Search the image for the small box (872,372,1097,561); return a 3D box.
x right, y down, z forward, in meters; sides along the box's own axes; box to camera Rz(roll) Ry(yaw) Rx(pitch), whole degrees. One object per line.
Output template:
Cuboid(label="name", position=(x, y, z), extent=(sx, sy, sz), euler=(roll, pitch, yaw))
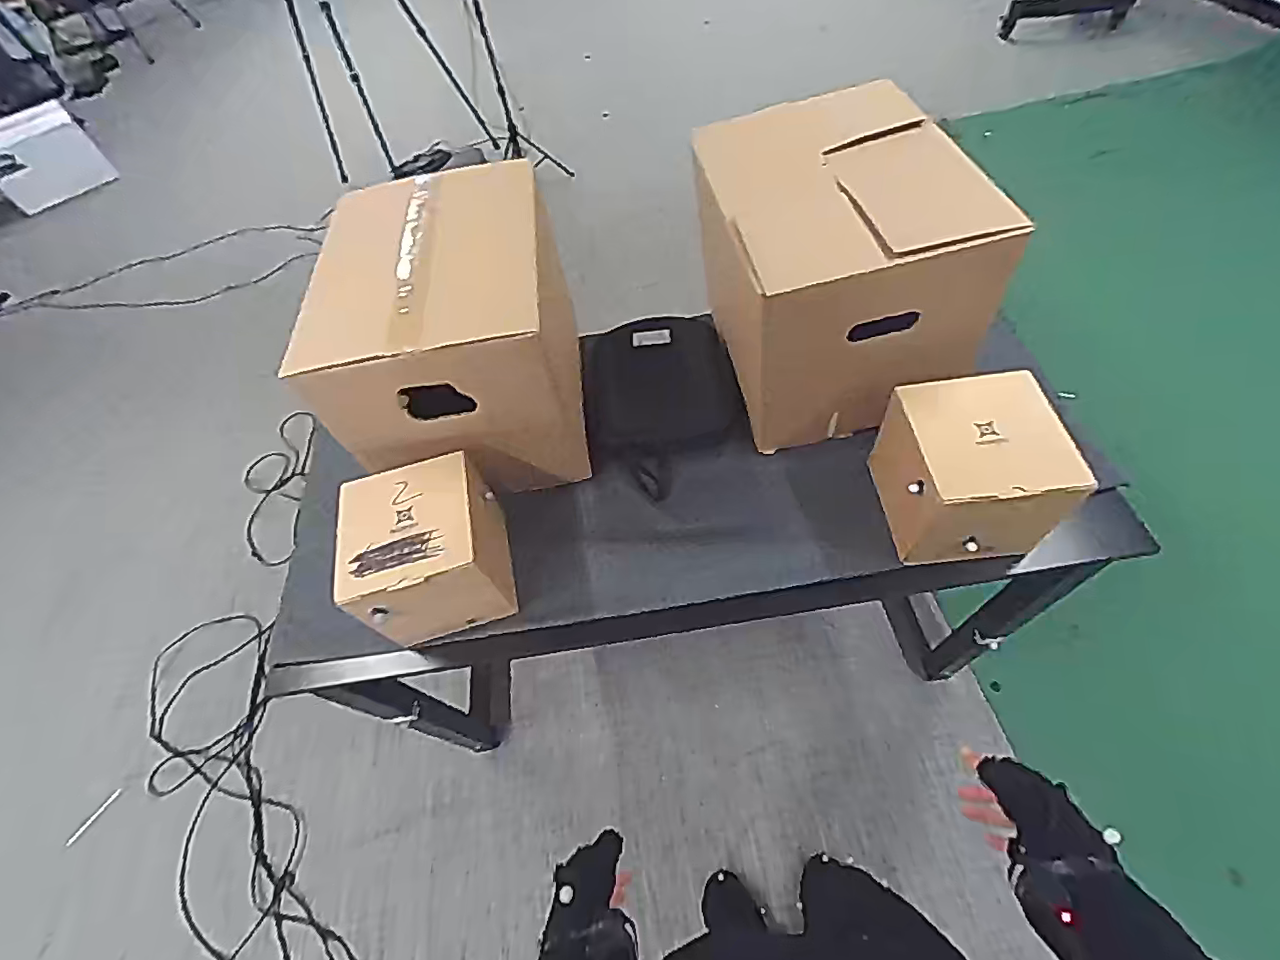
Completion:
Cuboid(label="small box", position=(0.421, -0.013, 0.703), extent=(0.168, 0.176, 0.179), euler=(-6, 58, 5))
